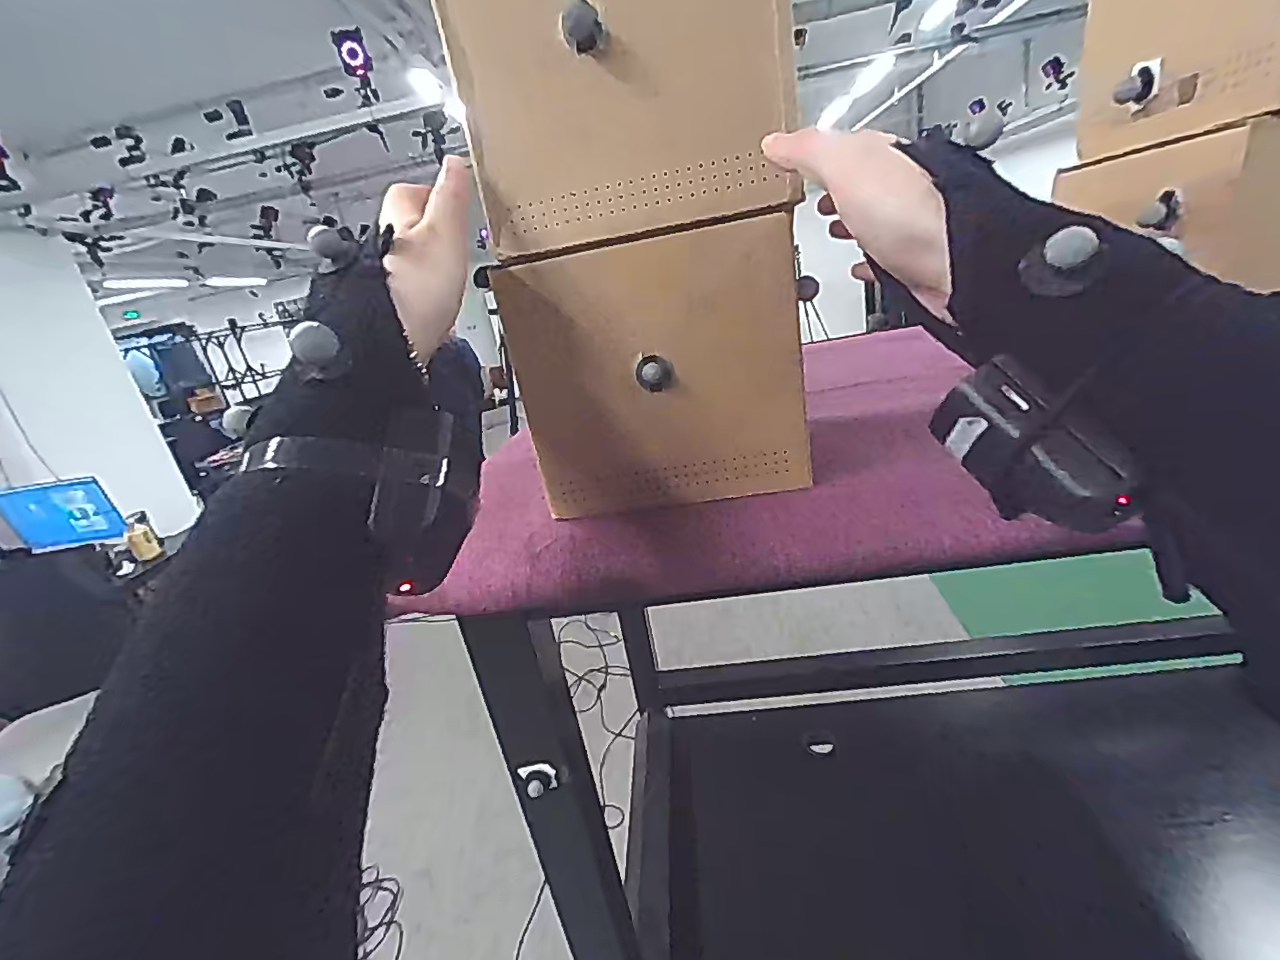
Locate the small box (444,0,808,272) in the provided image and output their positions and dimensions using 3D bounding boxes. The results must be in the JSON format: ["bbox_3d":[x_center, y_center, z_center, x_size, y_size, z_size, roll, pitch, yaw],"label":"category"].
[{"bbox_3d":[-0.002,-0.235,0.344,0.179,0.176,0.168,-8,21,8],"label":"small box"}]

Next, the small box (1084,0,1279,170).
[{"bbox_3d":[0.403,-0.293,0.310,0.179,0.176,0.168,-8,19,9],"label":"small box"}]

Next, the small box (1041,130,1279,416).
[{"bbox_3d":[0.421,-0.146,0.378,0.168,0.176,0.179,-6,21,8],"label":"small box"}]
